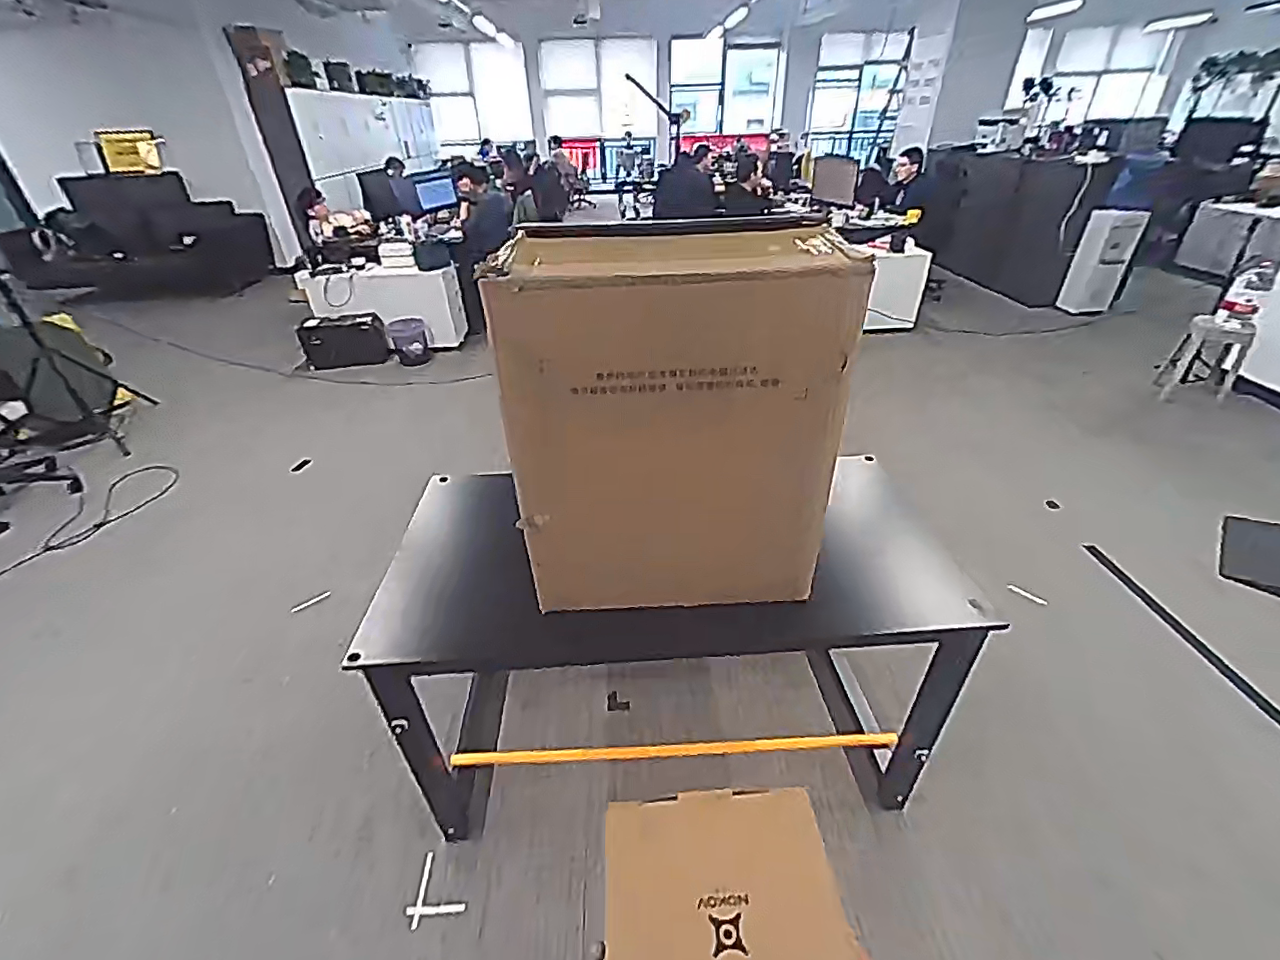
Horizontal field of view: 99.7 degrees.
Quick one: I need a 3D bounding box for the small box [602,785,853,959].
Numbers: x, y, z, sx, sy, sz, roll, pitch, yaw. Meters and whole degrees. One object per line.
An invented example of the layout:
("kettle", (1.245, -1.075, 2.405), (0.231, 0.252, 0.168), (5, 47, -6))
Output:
("small box", (0.057, 0.366, 0.410), (0.168, 0.176, 0.179), (-4, 34, -2))
